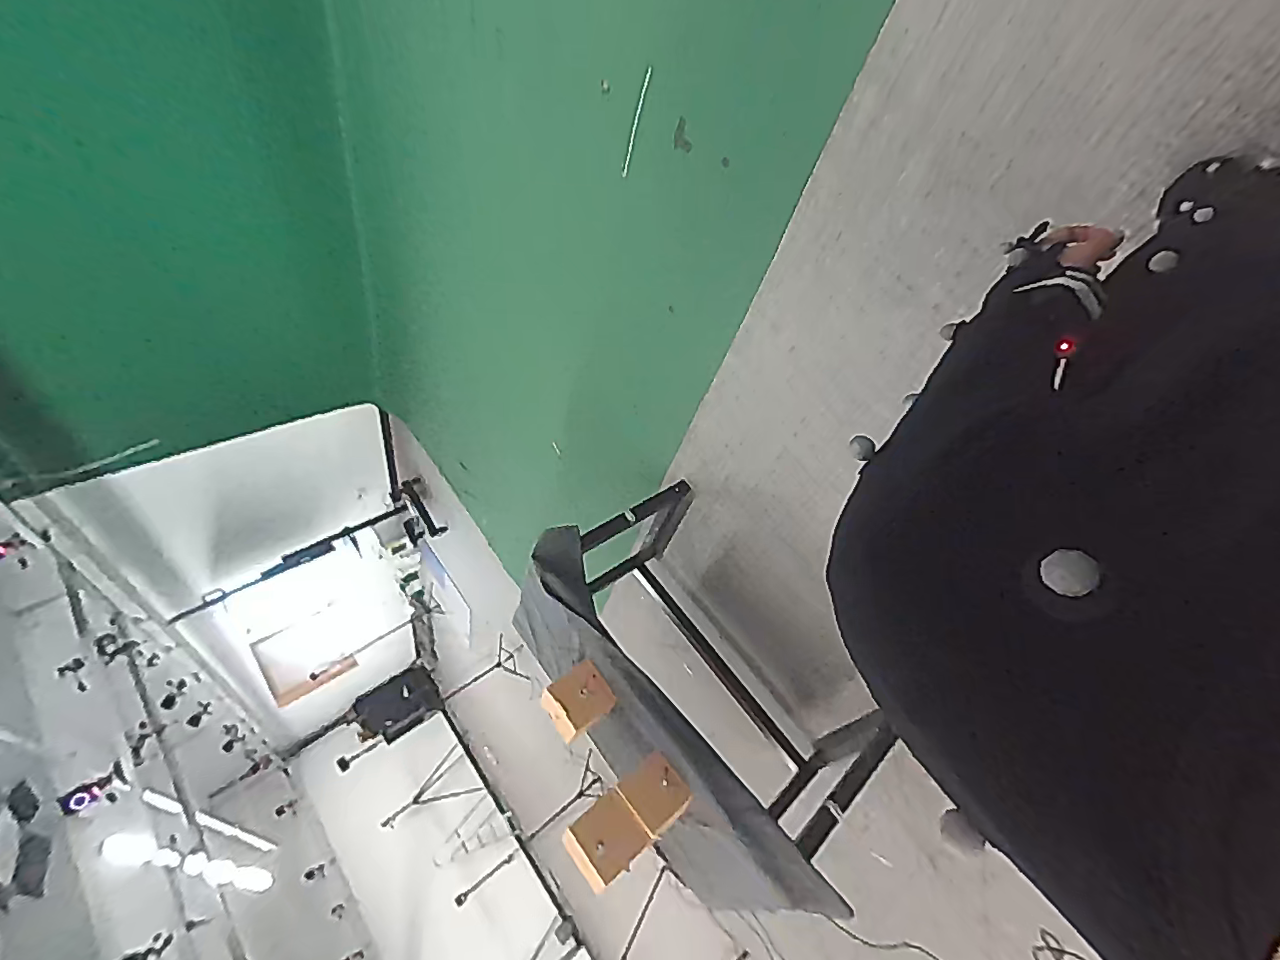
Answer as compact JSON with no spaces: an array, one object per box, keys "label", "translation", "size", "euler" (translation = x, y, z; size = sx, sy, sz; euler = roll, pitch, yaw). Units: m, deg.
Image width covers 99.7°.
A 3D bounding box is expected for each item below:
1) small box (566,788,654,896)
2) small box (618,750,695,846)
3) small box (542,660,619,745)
[{"label":"small box","translation":[-0.084,1.012,1.518],"size":[0.179,0.176,0.168],"euler":[45,141,26]},{"label":"small box","translation":[0.042,0.943,1.596],"size":[0.168,0.176,0.179],"euler":[41,140,28]},{"label":"small box","translation":[-0.190,0.717,1.751],"size":[0.168,0.176,0.179],"euler":[48,143,20]}]
